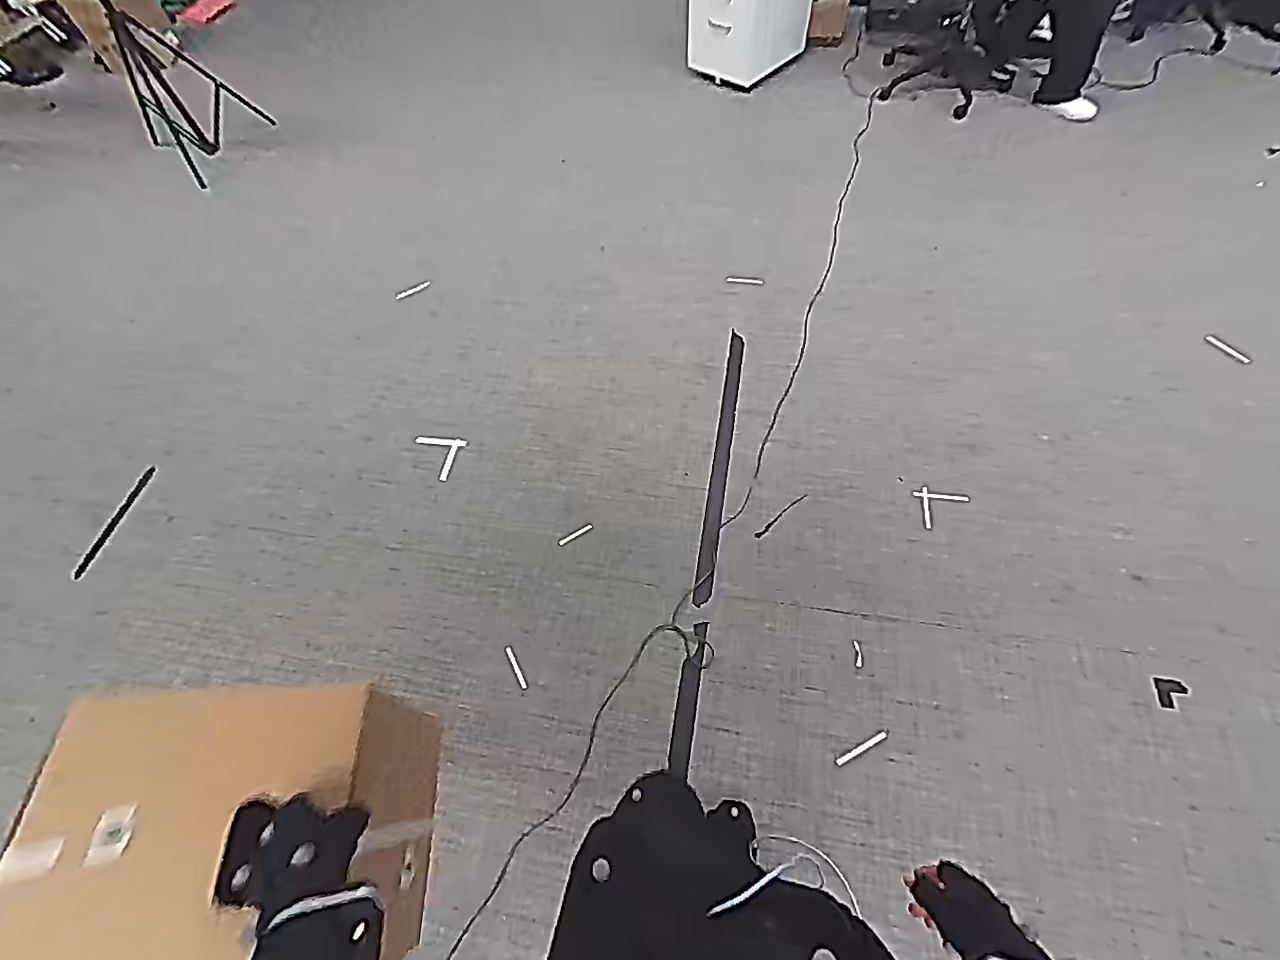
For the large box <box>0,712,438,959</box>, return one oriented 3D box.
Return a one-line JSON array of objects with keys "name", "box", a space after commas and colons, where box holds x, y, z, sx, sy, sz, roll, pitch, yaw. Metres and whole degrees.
[{"name": "large box", "box": [-0.470, 0.504, 0.696, 0.320, 0.408, 0.320, -1, 59, -8]}]
